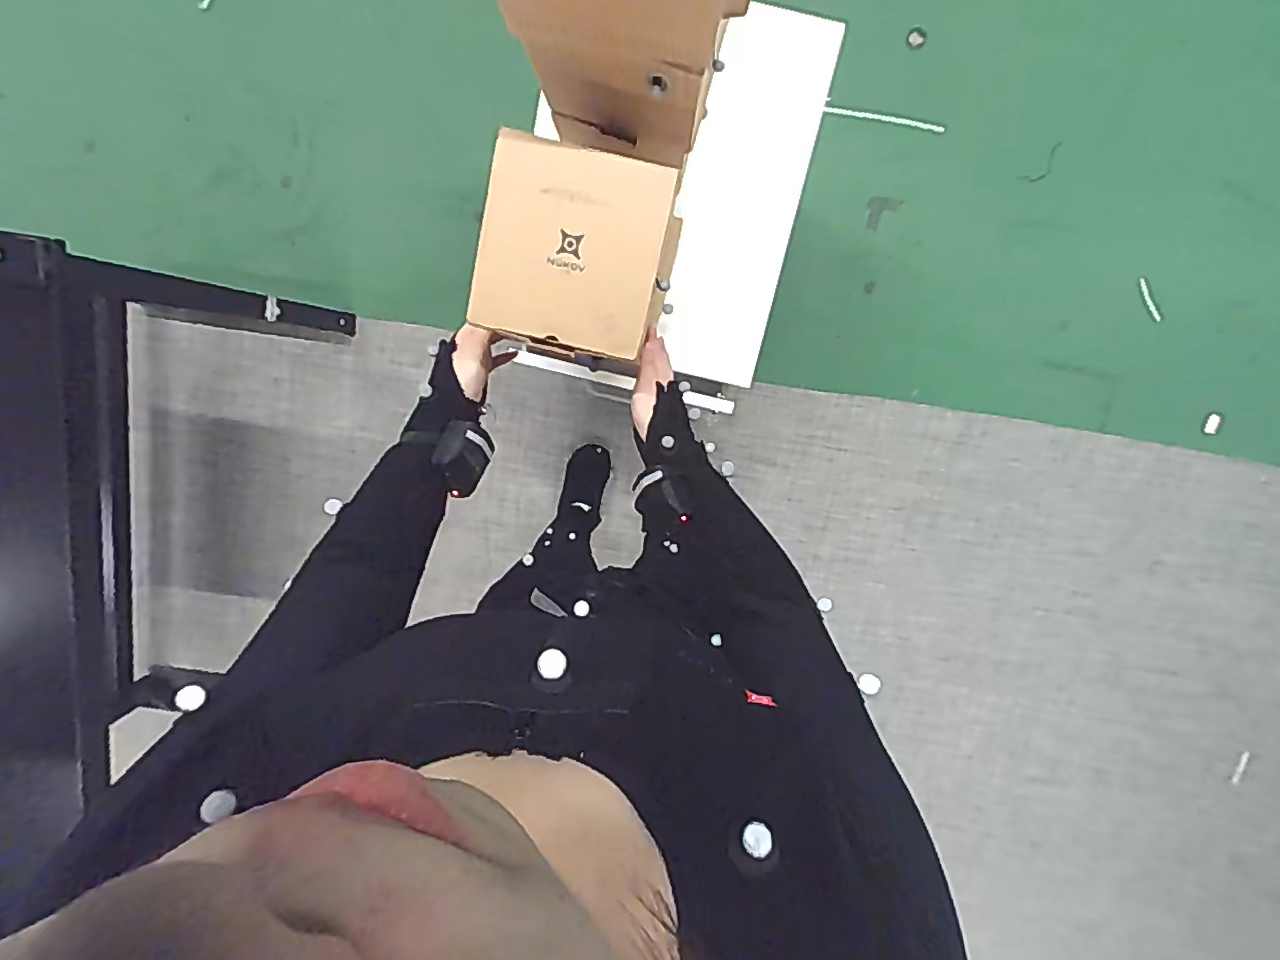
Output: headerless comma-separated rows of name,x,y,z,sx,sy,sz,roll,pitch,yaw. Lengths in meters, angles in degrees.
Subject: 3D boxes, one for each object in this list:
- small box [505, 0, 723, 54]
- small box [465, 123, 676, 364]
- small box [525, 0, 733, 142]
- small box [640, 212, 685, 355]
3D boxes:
small box,-0.014,-0.426,0.356,0.179,0.176,0.168,9,102,-2
small box,-0.064,-0.222,0.562,0.168,0.176,0.179,12,100,-2
small box,-0.005,-0.461,0.517,0.179,0.176,0.168,16,101,-3
small box,-0.052,-0.267,0.718,0.179,0.176,0.168,16,99,-3
